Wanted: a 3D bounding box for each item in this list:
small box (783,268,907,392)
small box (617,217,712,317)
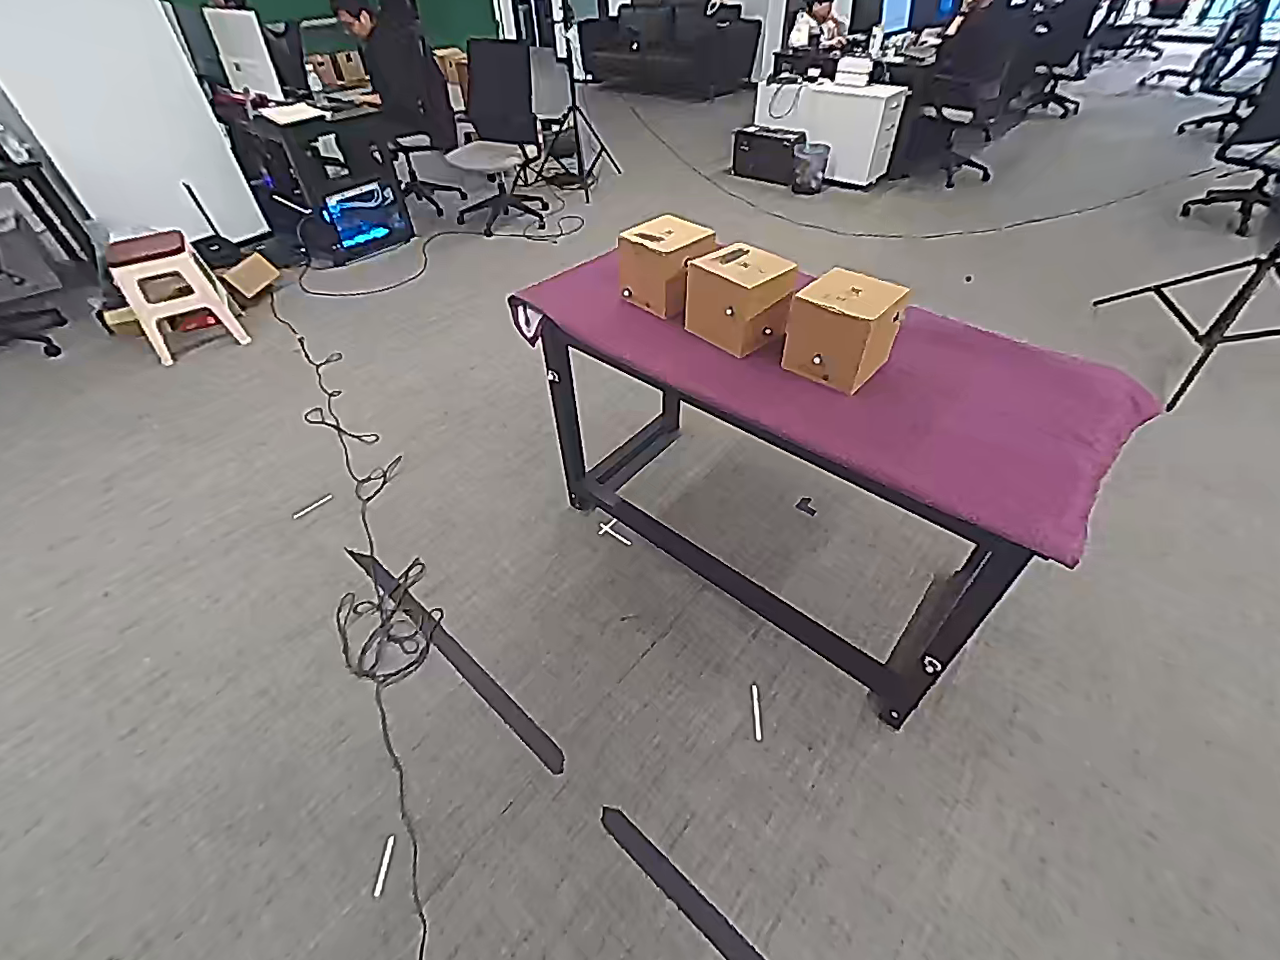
[{"bbox_3d":[0.418,-0.313,1.128,0.168,0.176,0.179,31,53,30],"label":"small box"},{"bbox_3d":[0.063,-0.533,1.360,0.179,0.176,0.168,-35,54,-28],"label":"small box"}]
